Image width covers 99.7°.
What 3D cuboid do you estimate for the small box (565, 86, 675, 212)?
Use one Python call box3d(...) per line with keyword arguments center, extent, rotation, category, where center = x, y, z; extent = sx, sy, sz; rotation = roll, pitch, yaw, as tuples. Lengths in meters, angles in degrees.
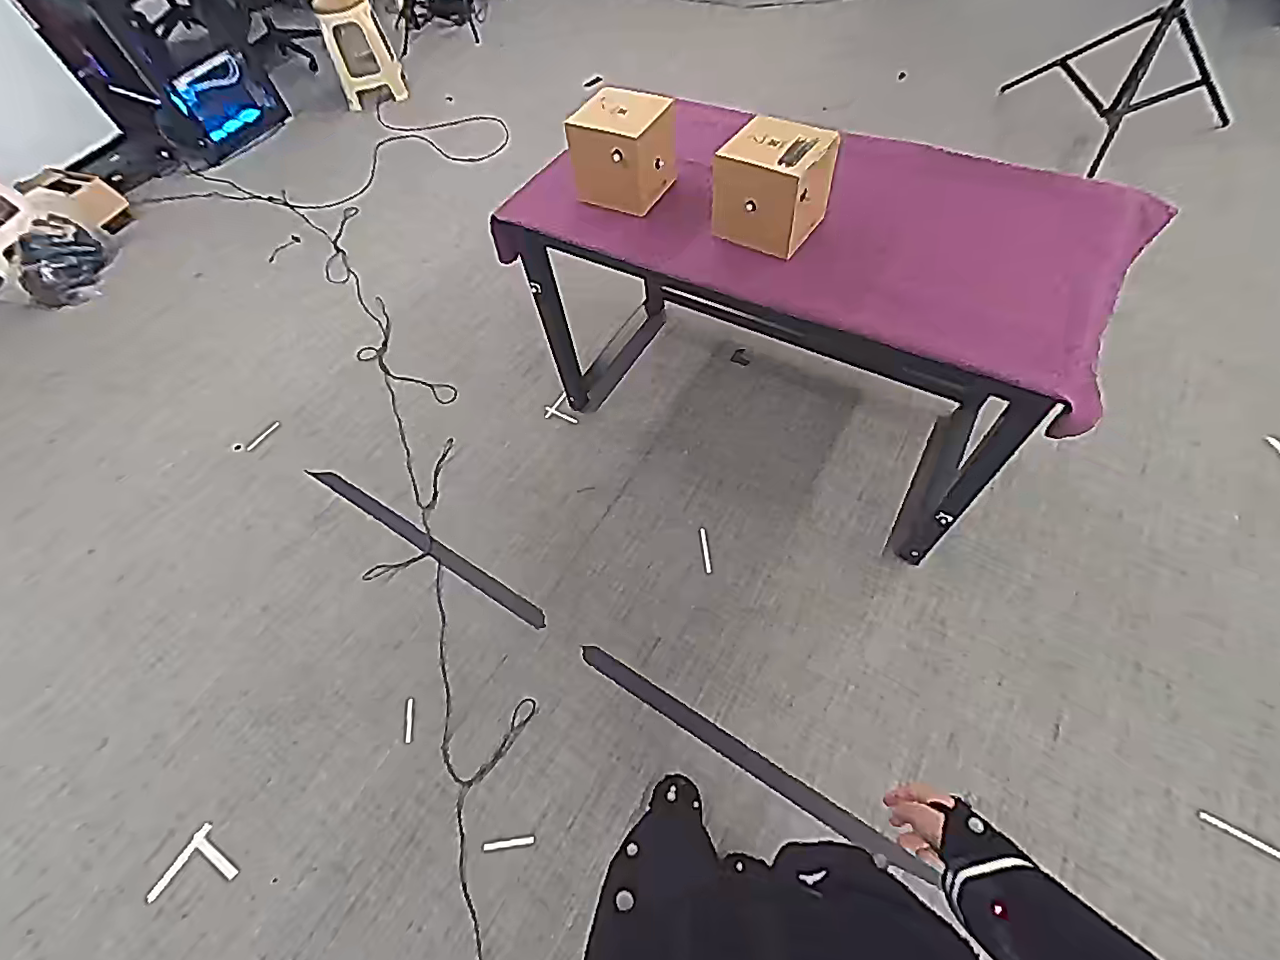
box3d(center=(-0.033, -0.714, 1.176), extent=(0.179, 0.176, 0.168), rotation=(24, 63, 19), category="small box")
